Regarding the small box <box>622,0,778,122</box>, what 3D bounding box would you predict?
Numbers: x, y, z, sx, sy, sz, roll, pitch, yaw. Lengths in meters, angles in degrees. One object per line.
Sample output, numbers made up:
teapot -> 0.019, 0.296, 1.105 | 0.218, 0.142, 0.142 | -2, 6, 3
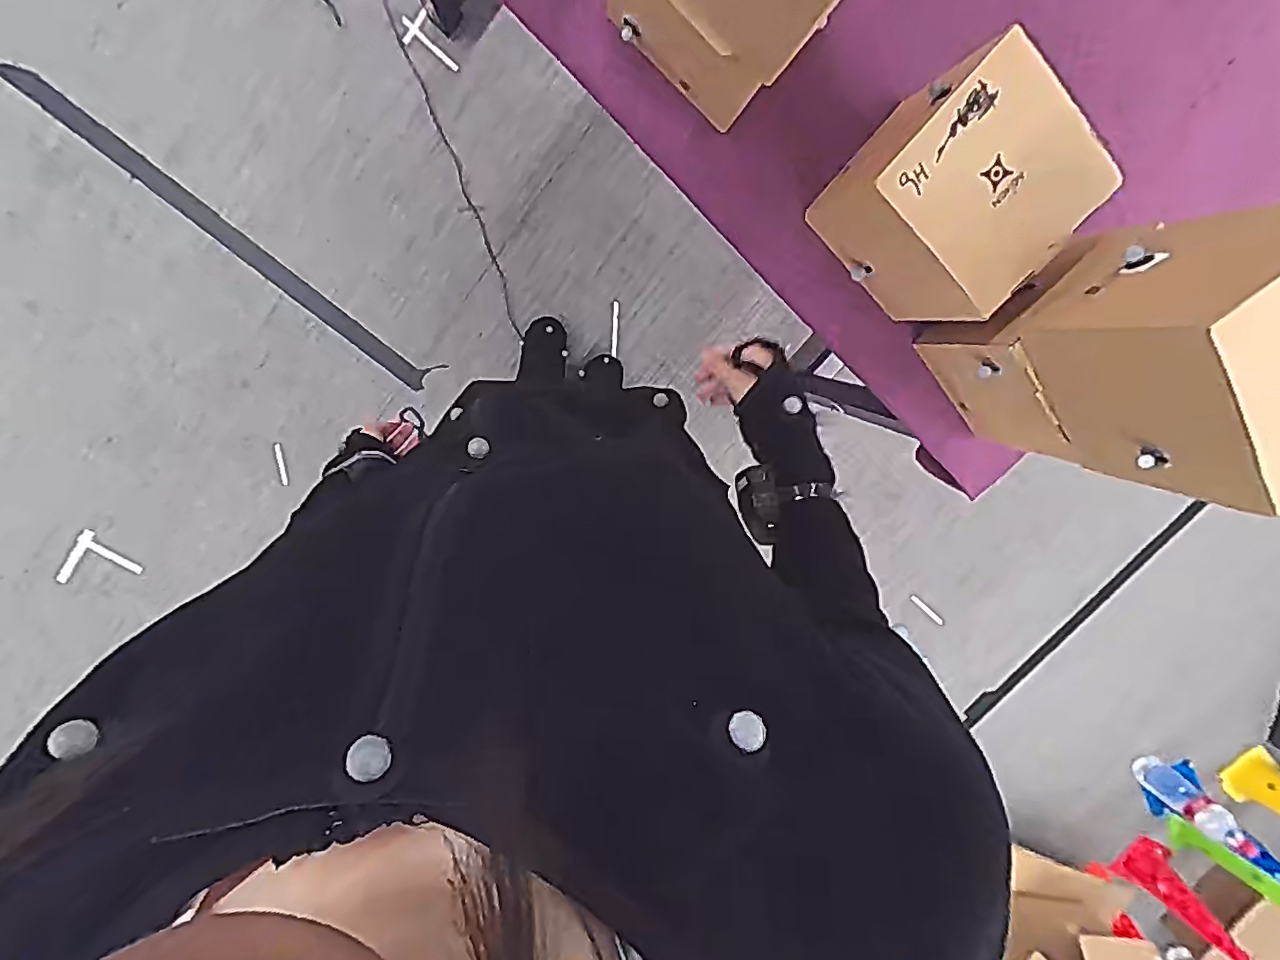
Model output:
small box -> 0.093, -0.469, 0.480 | 0.168, 0.176, 0.179 | 37, 99, -15

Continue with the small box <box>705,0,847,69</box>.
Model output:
small box -> 0.105, -0.408, 0.326 | 0.179, 0.176, 0.168 | 39, 99, -16

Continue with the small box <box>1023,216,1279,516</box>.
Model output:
small box -> 0.484, -0.104, 0.459 | 0.168, 0.176, 0.179 | -37, 105, 3
